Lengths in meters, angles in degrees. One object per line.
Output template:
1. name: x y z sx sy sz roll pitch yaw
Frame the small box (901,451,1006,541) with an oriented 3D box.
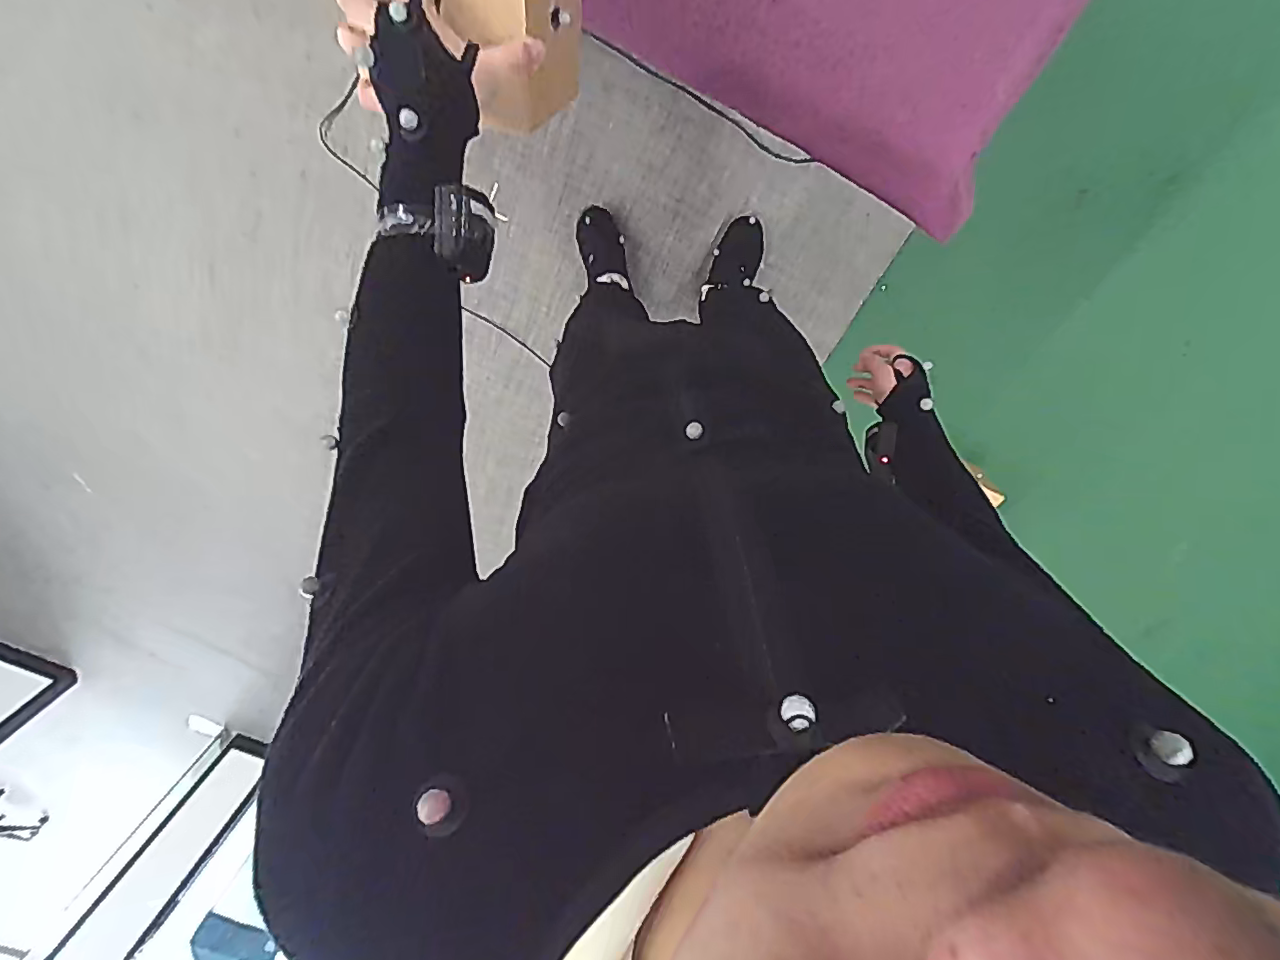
1. small box: 0.890 0.039 1.557 0.179 0.176 0.168 25 121 -6

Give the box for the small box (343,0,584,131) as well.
1. small box: -0.151 -0.455 0.492 0.168 0.176 0.179 14 138 3
